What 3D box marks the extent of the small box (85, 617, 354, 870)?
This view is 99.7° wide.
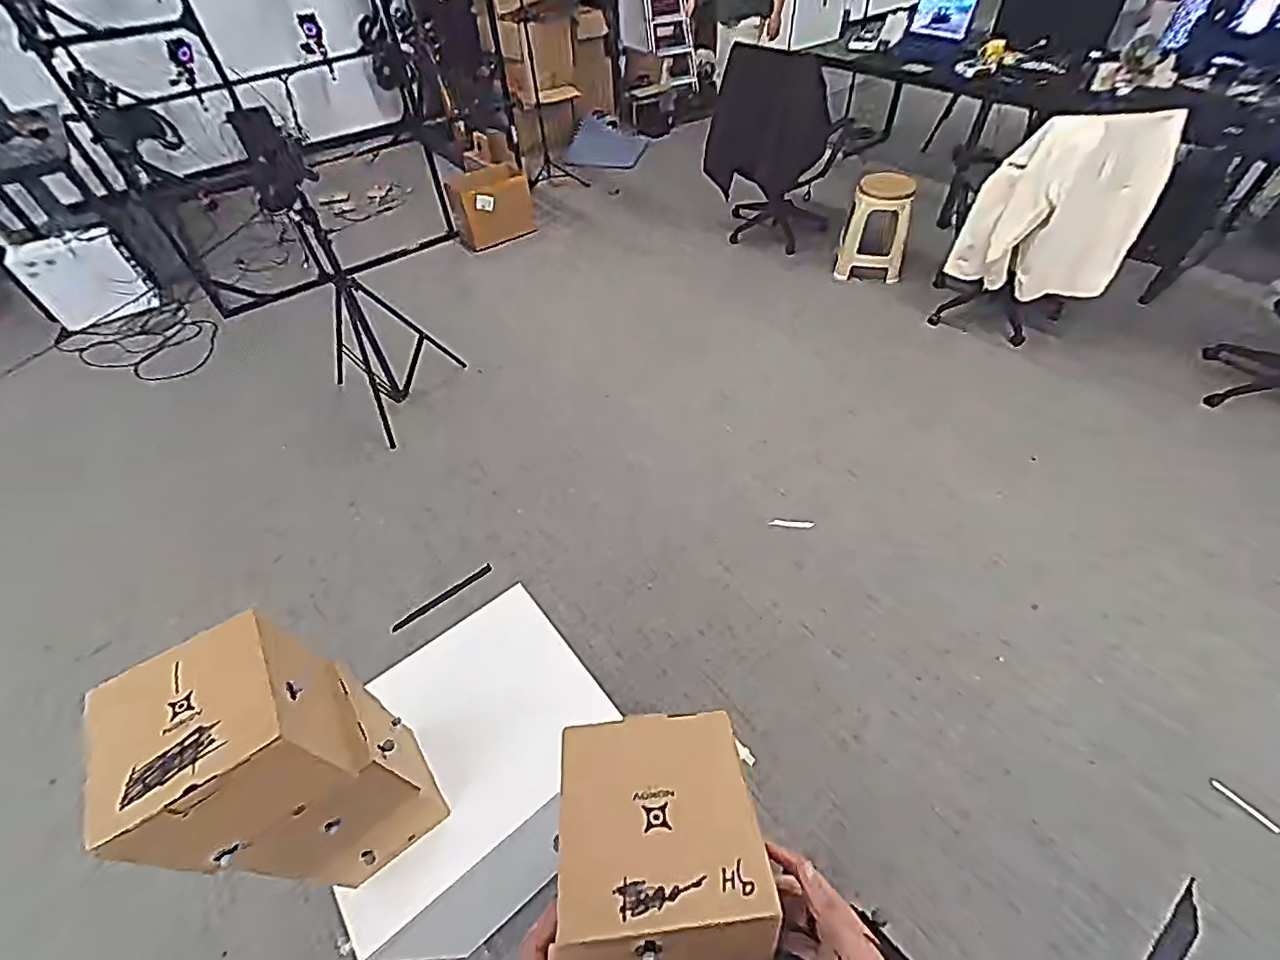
[{"bbox_3d":[-0.448,0.293,0.597,0.168,0.176,0.179,-30,53,-20],"label":"small box"}]

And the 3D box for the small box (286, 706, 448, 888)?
[{"bbox_3d":[-0.430,0.500,0.852,0.168,0.176,0.179,-32,54,-23],"label":"small box"}]

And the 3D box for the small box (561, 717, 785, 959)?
[{"bbox_3d":[0.017,0.352,0.496,0.168,0.176,0.179,-4,30,-5],"label":"small box"}]
